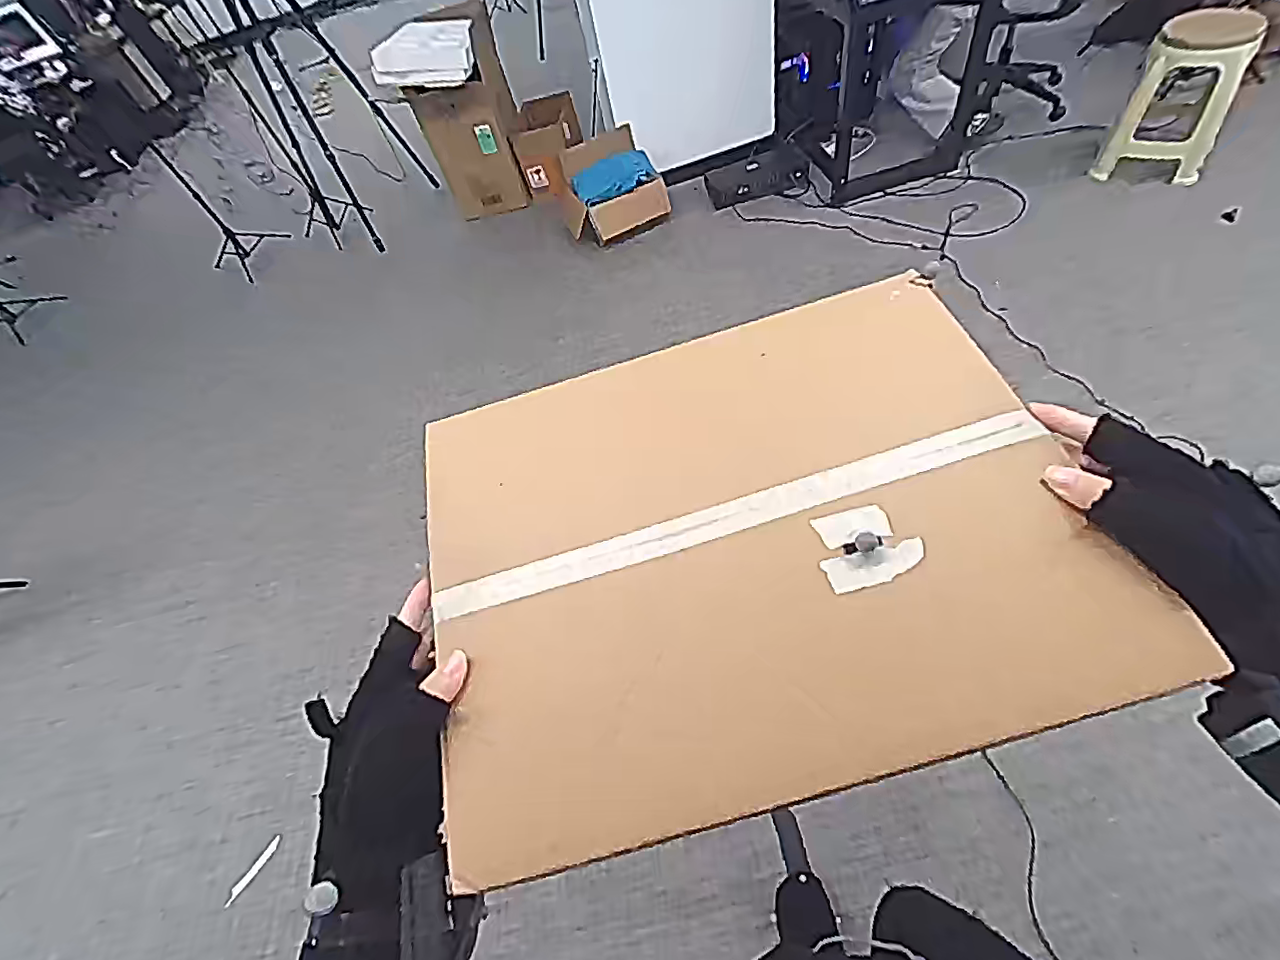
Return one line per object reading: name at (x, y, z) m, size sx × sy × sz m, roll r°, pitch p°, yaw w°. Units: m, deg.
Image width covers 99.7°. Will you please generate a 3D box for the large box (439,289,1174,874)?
large box at (0.084, 0.101, 0.492) m, size 0.408 × 0.320 × 0.320 m, roll -17°, pitch 60°, yaw 1°
